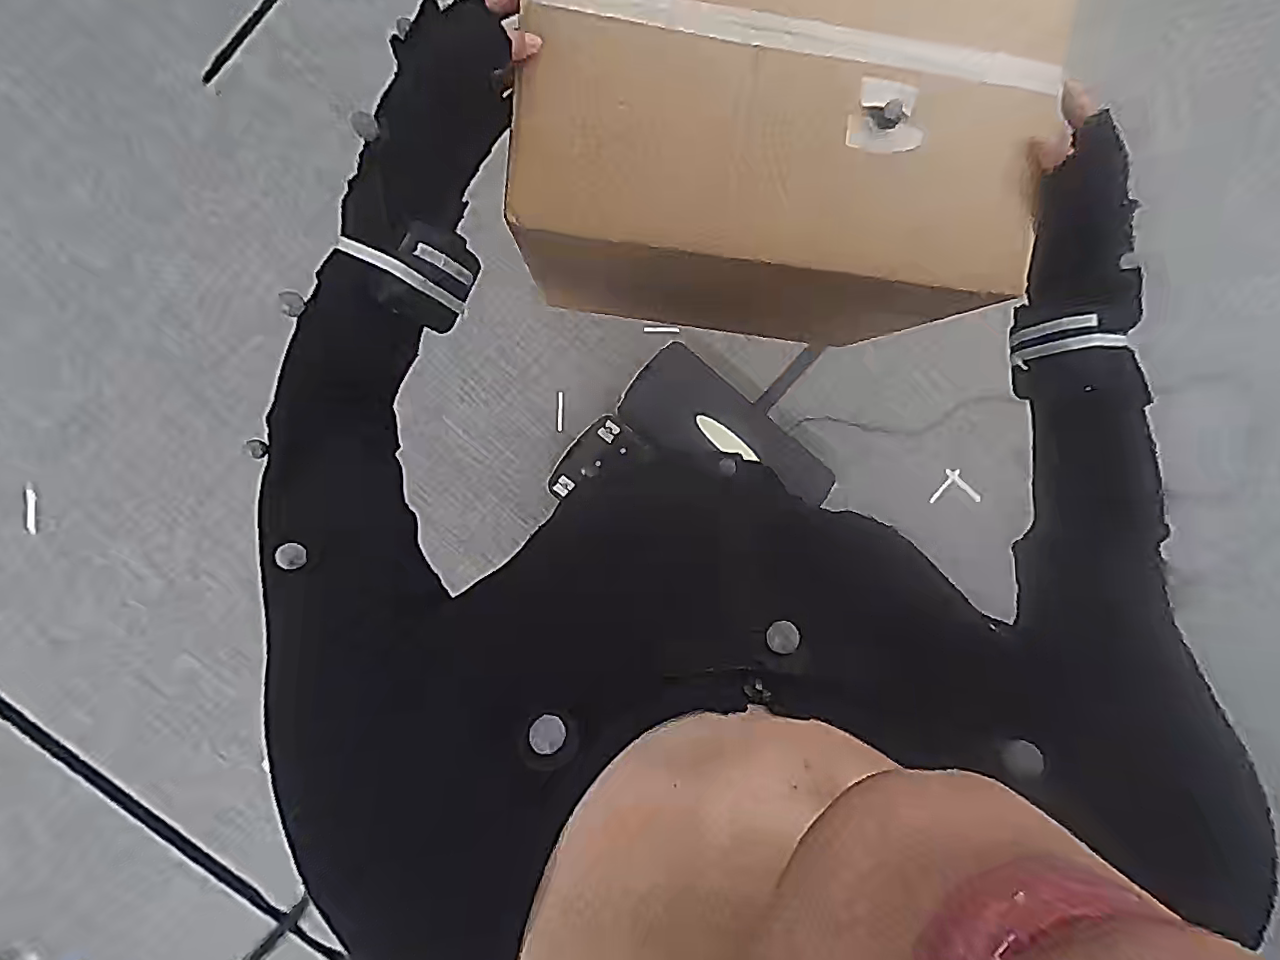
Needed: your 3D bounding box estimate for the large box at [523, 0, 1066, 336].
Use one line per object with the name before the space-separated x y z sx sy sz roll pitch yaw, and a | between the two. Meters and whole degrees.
large box | 0.108 -0.344 0.552 0.408 0.320 0.320 6 97 -6
